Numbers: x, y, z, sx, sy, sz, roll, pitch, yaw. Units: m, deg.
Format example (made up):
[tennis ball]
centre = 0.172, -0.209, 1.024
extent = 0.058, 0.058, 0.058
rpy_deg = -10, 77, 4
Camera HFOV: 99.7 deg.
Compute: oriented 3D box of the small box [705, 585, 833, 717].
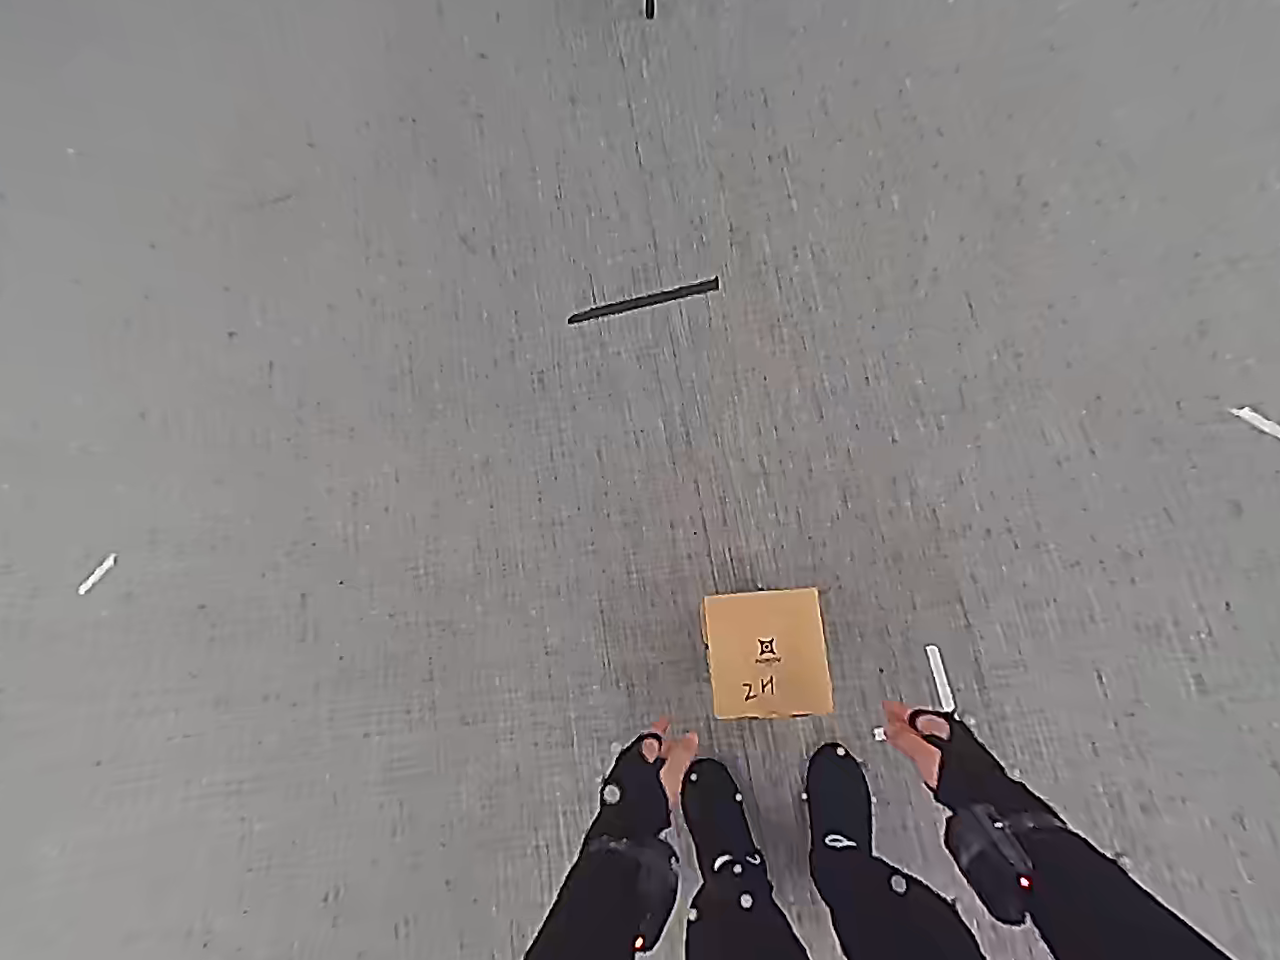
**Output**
[small box]
centre = 0.192, 0.259, 0.844
extent = 0.168, 0.176, 0.179
rpy_deg = -6, 78, 9
